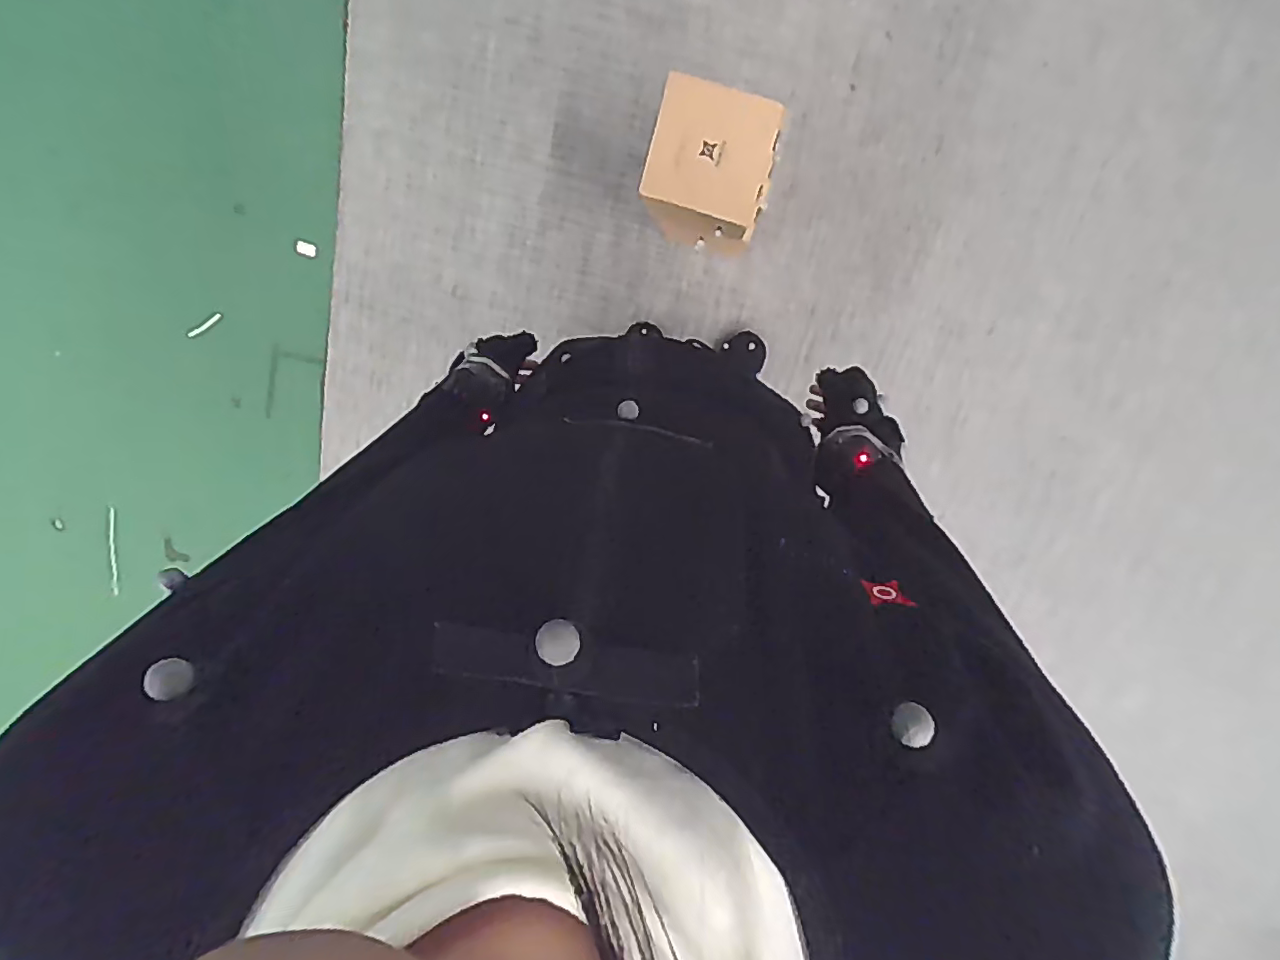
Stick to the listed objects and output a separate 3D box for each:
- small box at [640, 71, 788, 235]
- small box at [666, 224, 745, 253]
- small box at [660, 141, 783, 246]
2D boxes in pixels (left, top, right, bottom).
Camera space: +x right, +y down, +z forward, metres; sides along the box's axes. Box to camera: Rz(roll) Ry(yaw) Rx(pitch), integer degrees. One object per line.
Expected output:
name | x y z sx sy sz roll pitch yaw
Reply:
small box | 0.114 -0.502 0.859 0.179 0.176 0.168 17 108 3
small box | 0.164 -0.602 1.163 0.179 0.176 0.168 20 107 0
small box | 0.146 -0.549 1.012 0.179 0.176 0.168 18 109 1
